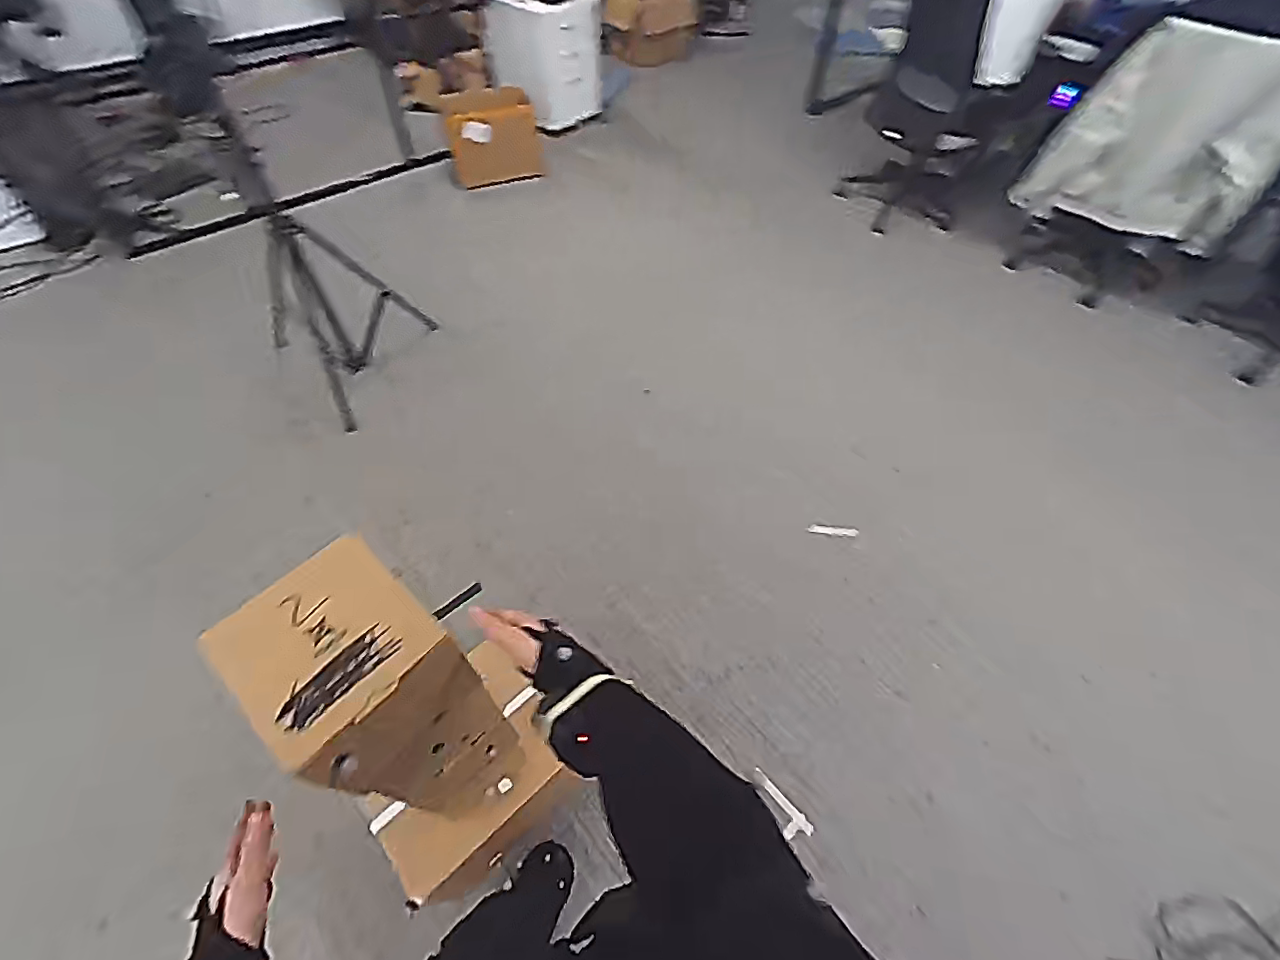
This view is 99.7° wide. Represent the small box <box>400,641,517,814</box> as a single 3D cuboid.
[{"bbox_3d":[-0.316,0.395,0.854,0.179,0.176,0.168,39,61,24],"label":"small box"}]

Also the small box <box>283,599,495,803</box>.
[{"bbox_3d":[-0.316,0.299,0.720,0.179,0.176,0.168,36,59,21],"label":"small box"}]

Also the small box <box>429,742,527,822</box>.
[{"bbox_3d":[-0.328,0.489,0.985,0.168,0.176,0.179,-37,64,-25],"label":"small box"}]
